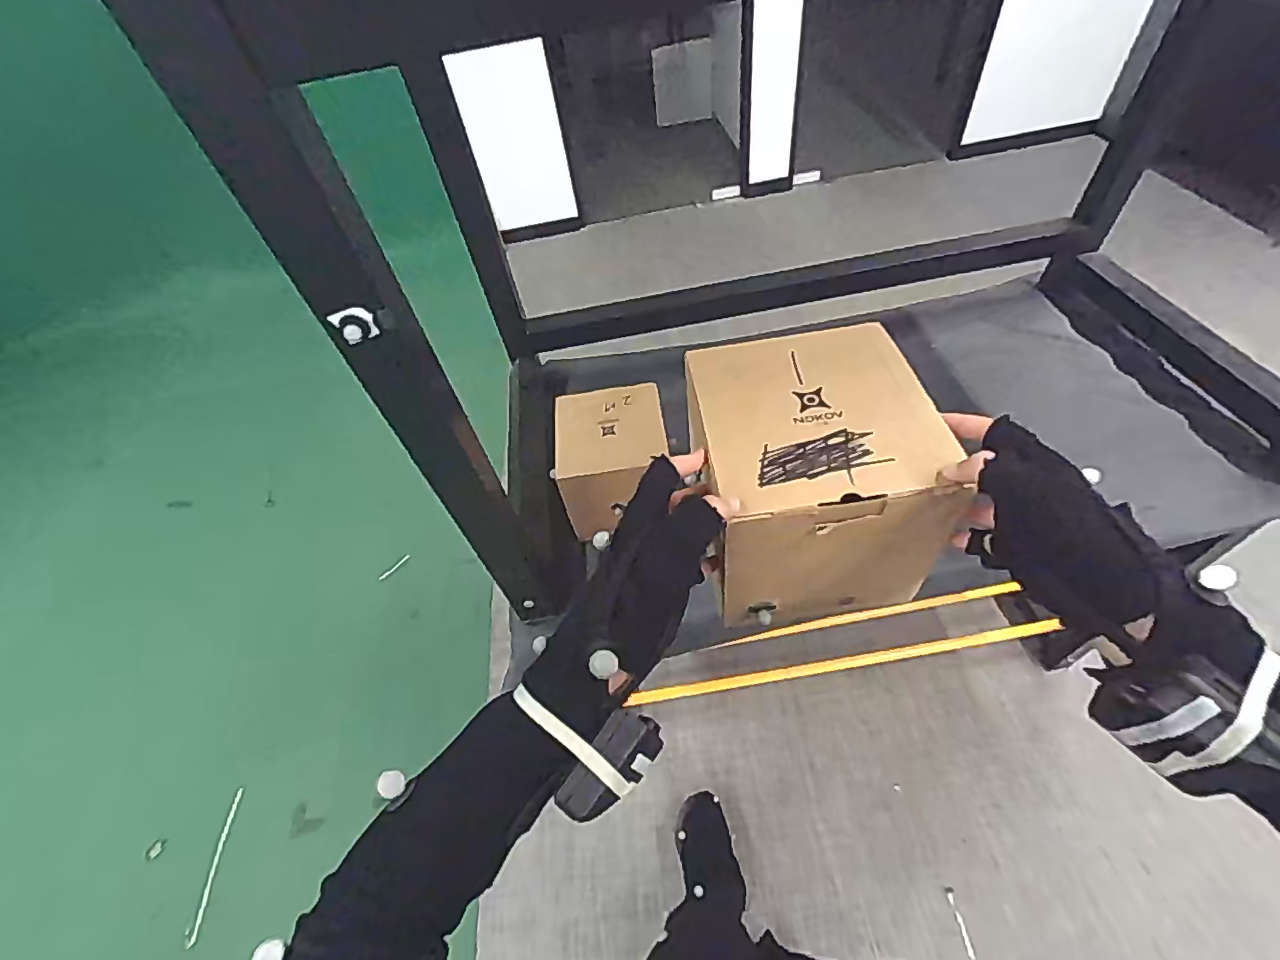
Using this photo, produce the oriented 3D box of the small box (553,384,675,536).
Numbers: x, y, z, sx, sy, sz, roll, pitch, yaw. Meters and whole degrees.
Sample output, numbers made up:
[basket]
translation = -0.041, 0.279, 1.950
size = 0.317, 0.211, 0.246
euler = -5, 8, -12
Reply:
[small box]
translation = -0.038, -0.025, 0.864
size = 0.168, 0.176, 0.179
euler = -8, 50, 1
